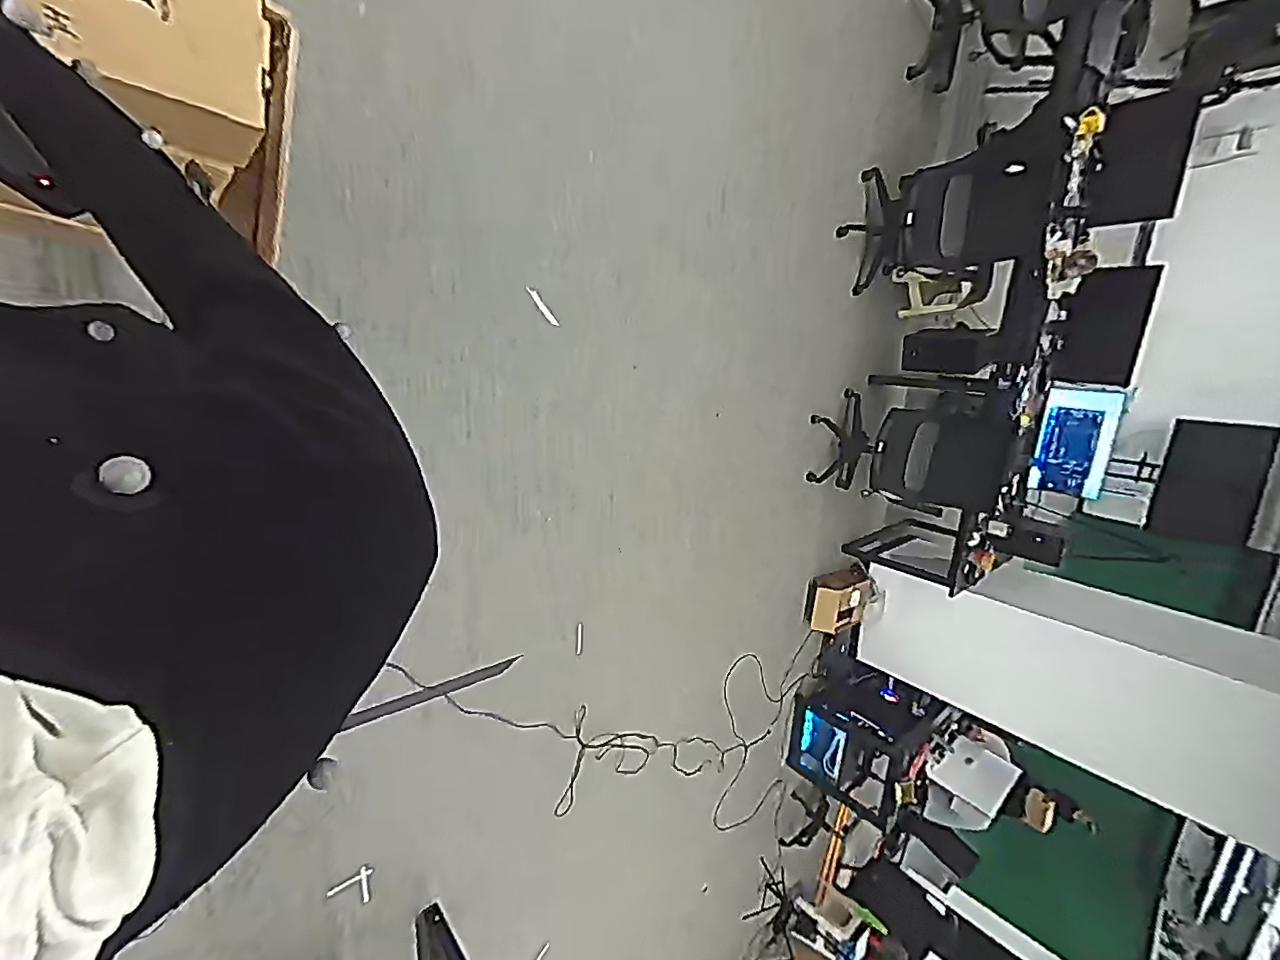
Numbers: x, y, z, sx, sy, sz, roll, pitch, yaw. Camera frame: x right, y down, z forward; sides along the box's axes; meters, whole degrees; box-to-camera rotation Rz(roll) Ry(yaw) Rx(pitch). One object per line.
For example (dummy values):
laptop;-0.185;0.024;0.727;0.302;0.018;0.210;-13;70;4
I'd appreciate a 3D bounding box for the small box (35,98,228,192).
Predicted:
small box;-0.616;-0.485;0.669;0.168;0.176;0.179;1;101;-43

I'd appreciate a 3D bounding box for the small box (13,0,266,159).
small box;-0.504;-0.455;0.554;0.179;0.176;0.168;-2;102;-43
